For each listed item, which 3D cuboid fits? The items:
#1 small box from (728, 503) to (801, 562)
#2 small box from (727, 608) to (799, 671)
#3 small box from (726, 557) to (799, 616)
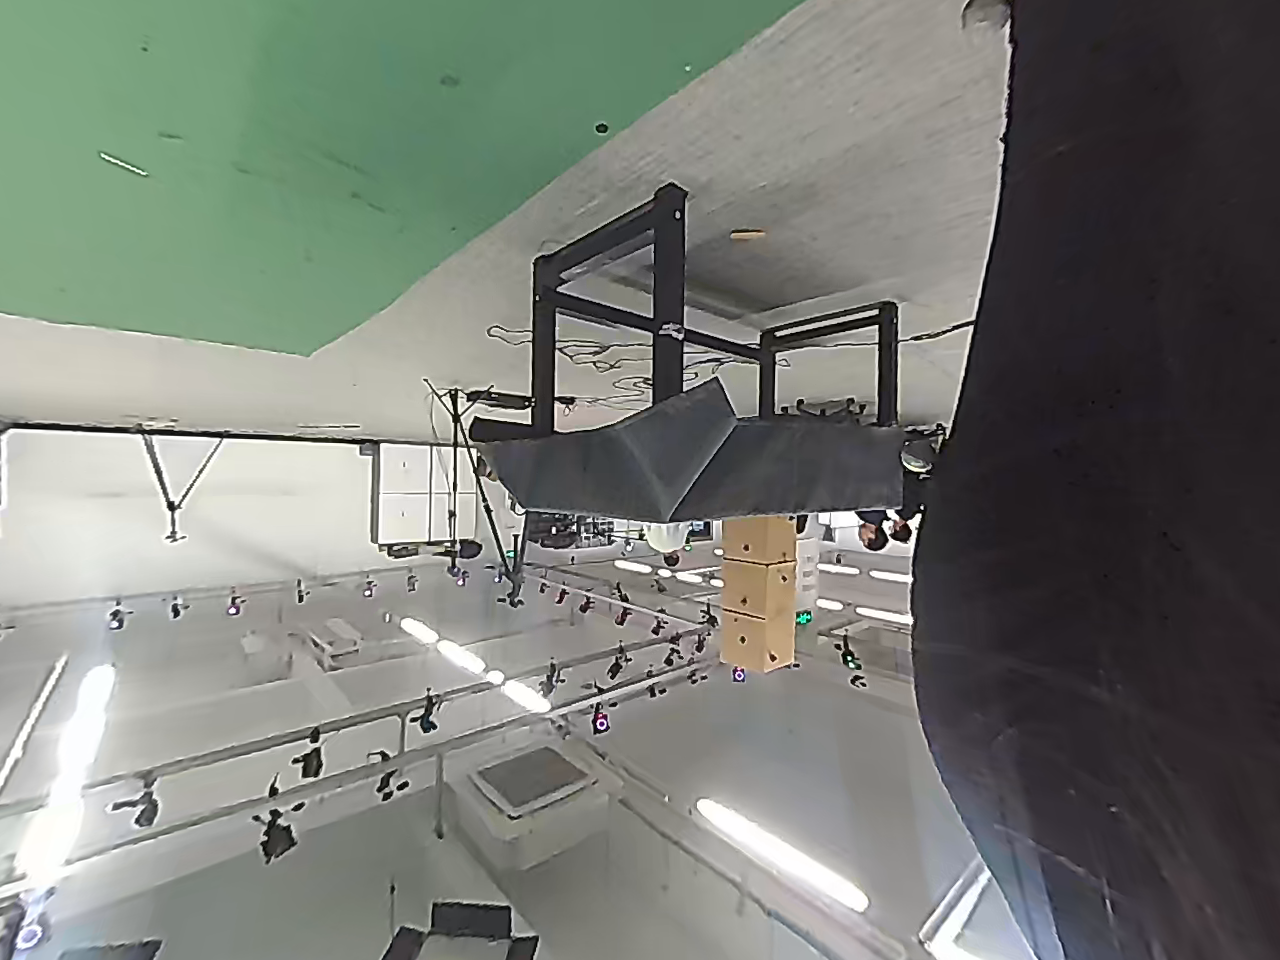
[{"bbox_3d":[0.398,0.164,1.734,0.168,0.176,0.179,1,-179,-41],"label":"small box"},{"bbox_3d":[0.394,0.491,1.729,0.179,0.176,0.168,1,180,-43],"label":"small box"},{"bbox_3d":[0.396,0.326,1.733,0.168,0.176,0.179,1,180,-42],"label":"small box"}]
